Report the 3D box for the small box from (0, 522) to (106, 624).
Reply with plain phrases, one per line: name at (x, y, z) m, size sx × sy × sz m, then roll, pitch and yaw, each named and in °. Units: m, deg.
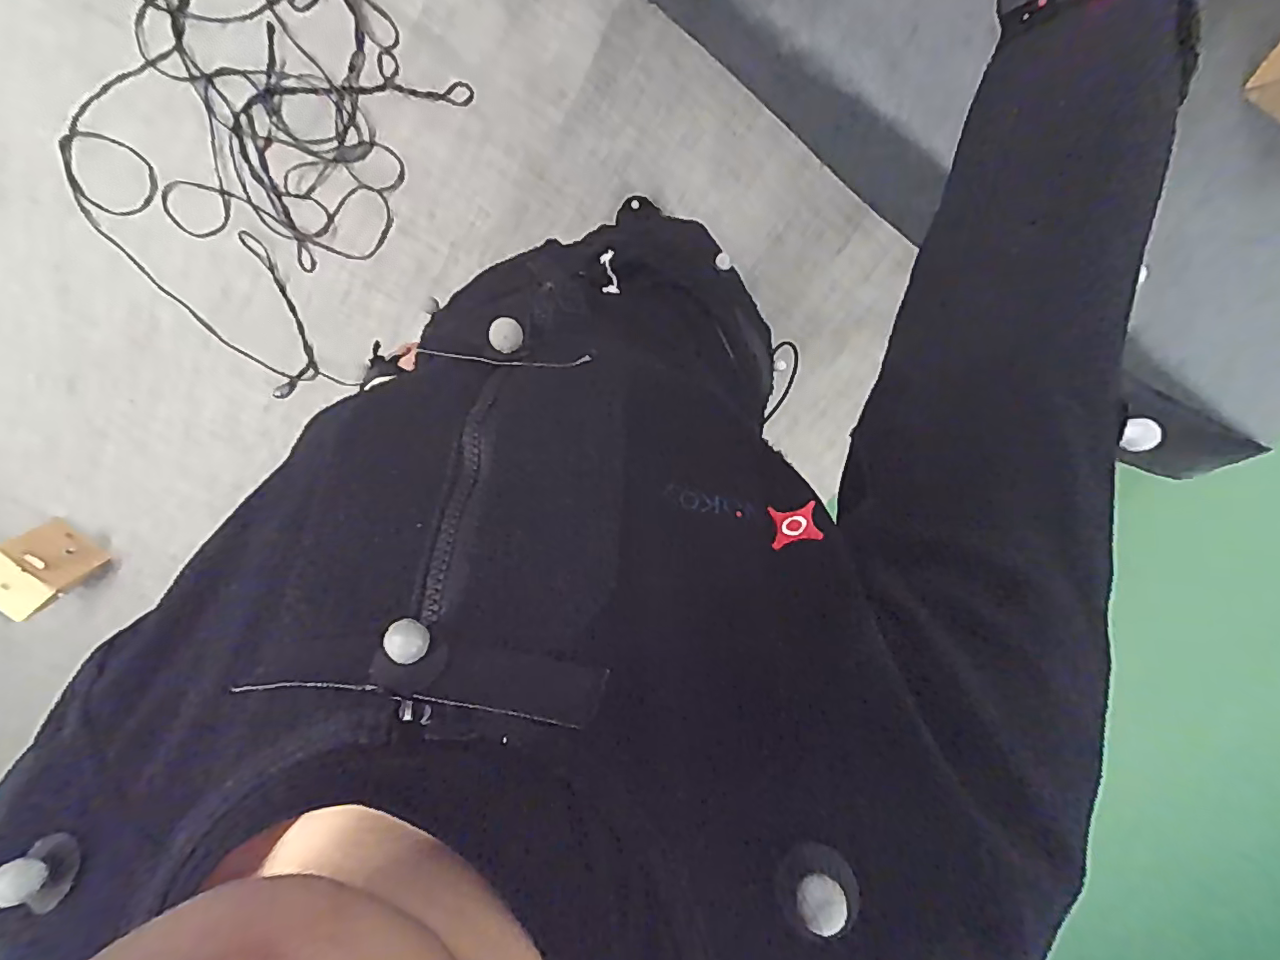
small box at (-1.615, 0.246, 1.453) m, size 0.179 × 0.176 × 0.168 m, roll -34°, pitch 109°, yaw 14°
